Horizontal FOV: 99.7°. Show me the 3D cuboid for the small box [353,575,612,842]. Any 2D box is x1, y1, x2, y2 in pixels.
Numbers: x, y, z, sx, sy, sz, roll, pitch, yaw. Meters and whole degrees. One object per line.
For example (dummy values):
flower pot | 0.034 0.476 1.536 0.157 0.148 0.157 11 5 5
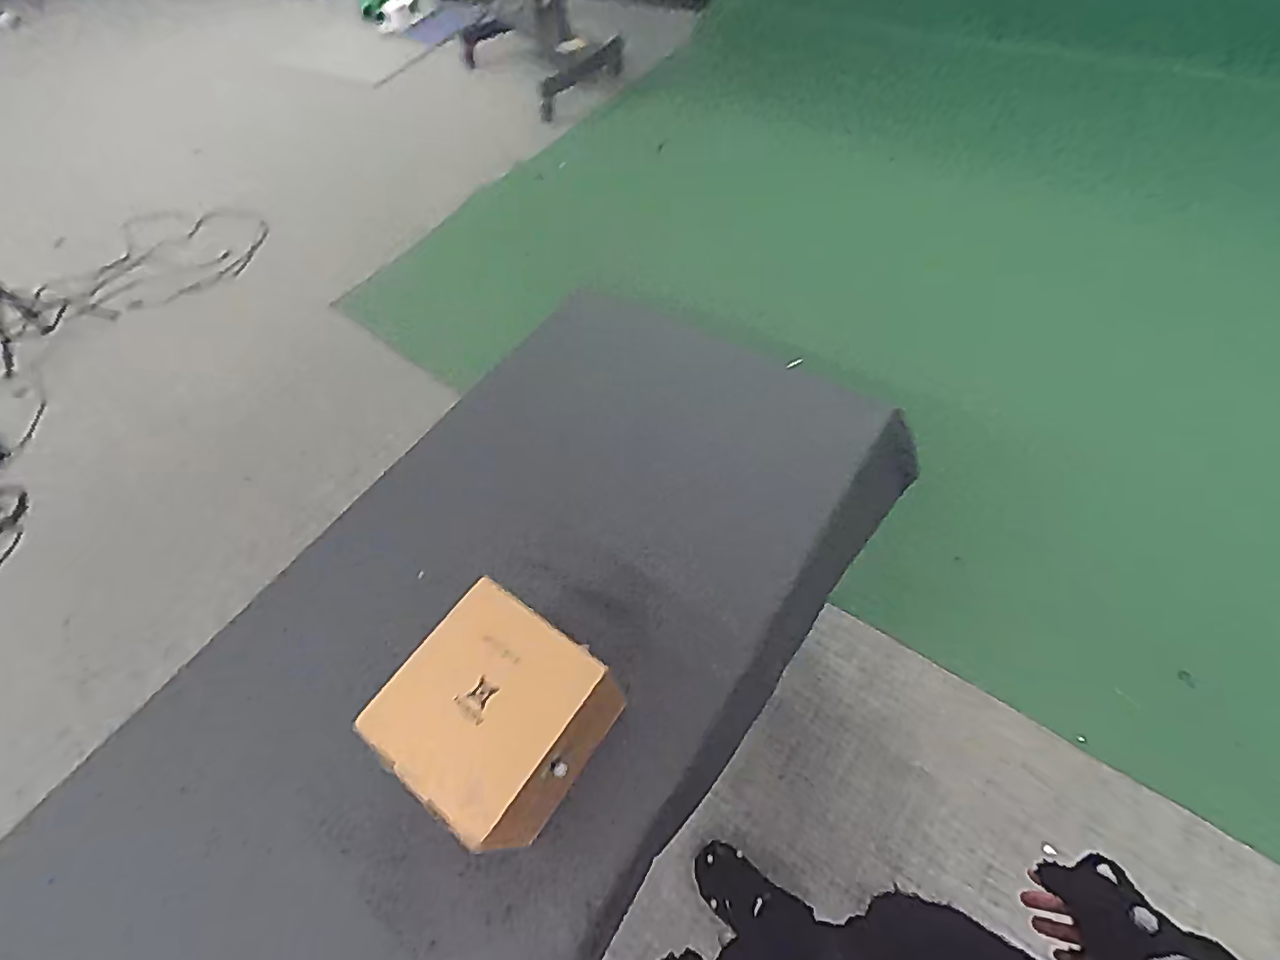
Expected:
small box | -0.144 0.239 0.567 0.168 0.176 0.179 30 65 21
